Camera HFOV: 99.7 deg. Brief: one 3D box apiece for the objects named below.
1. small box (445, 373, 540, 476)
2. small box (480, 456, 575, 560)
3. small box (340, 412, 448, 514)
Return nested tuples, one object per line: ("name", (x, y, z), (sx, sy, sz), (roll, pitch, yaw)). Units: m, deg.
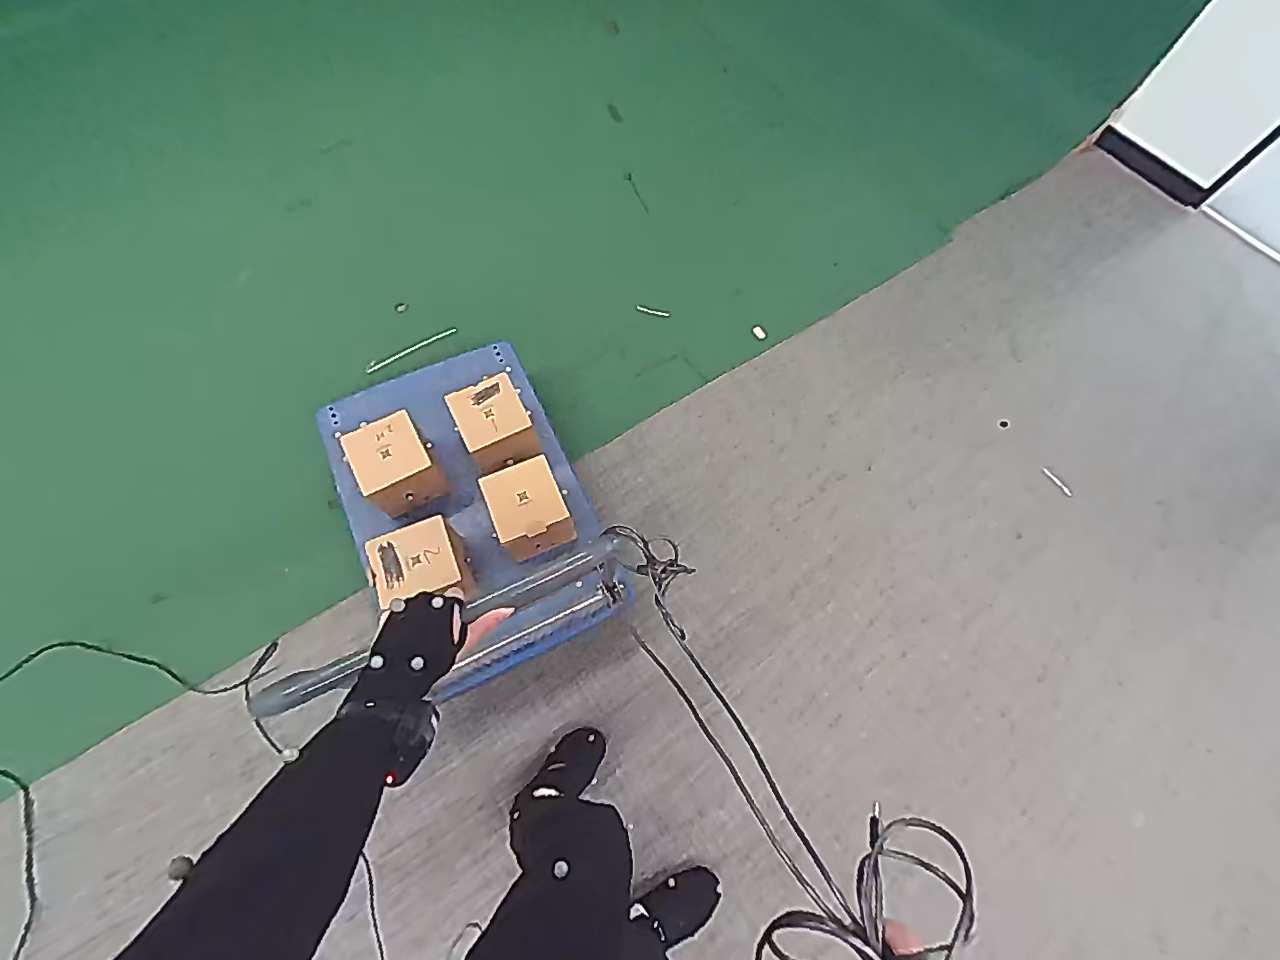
("small box", (-0.374, -0.137, 1.393), (0.168, 0.176, 0.179), (-26, 72, -11))
("small box", (-0.269, 0.073, 1.314), (0.168, 0.176, 0.179), (-23, 71, -10))
("small box", (-0.602, -0.032, 1.345), (0.168, 0.176, 0.179), (-28, 72, -12))
